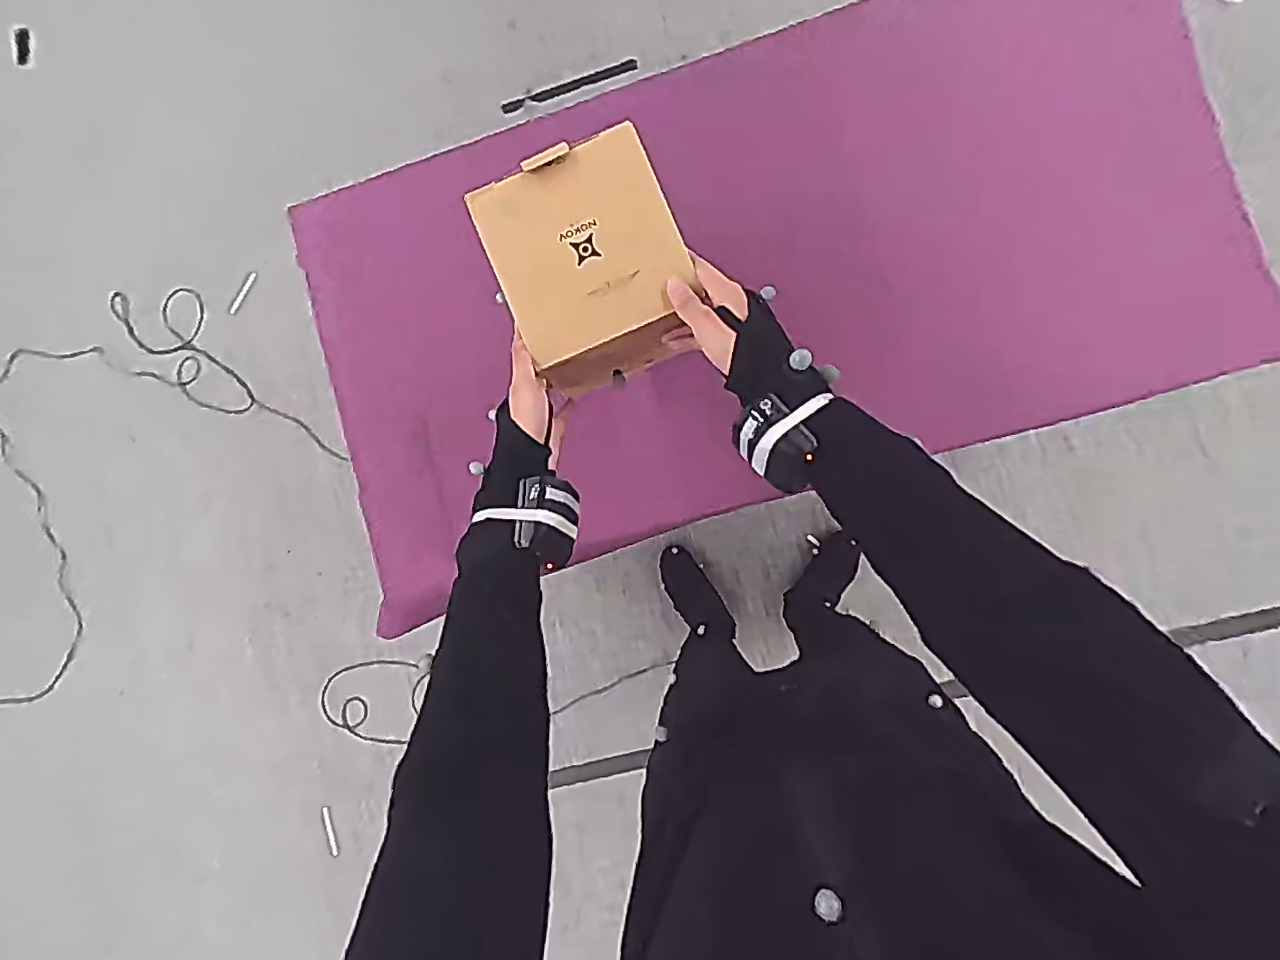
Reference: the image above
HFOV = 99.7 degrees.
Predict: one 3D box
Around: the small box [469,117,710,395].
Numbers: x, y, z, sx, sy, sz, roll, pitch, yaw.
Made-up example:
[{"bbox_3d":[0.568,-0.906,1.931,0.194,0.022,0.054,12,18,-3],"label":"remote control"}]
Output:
[{"bbox_3d":[-0.043,-0.205,0.547,0.168,0.176,0.179,-22,88,2],"label":"small box"}]
